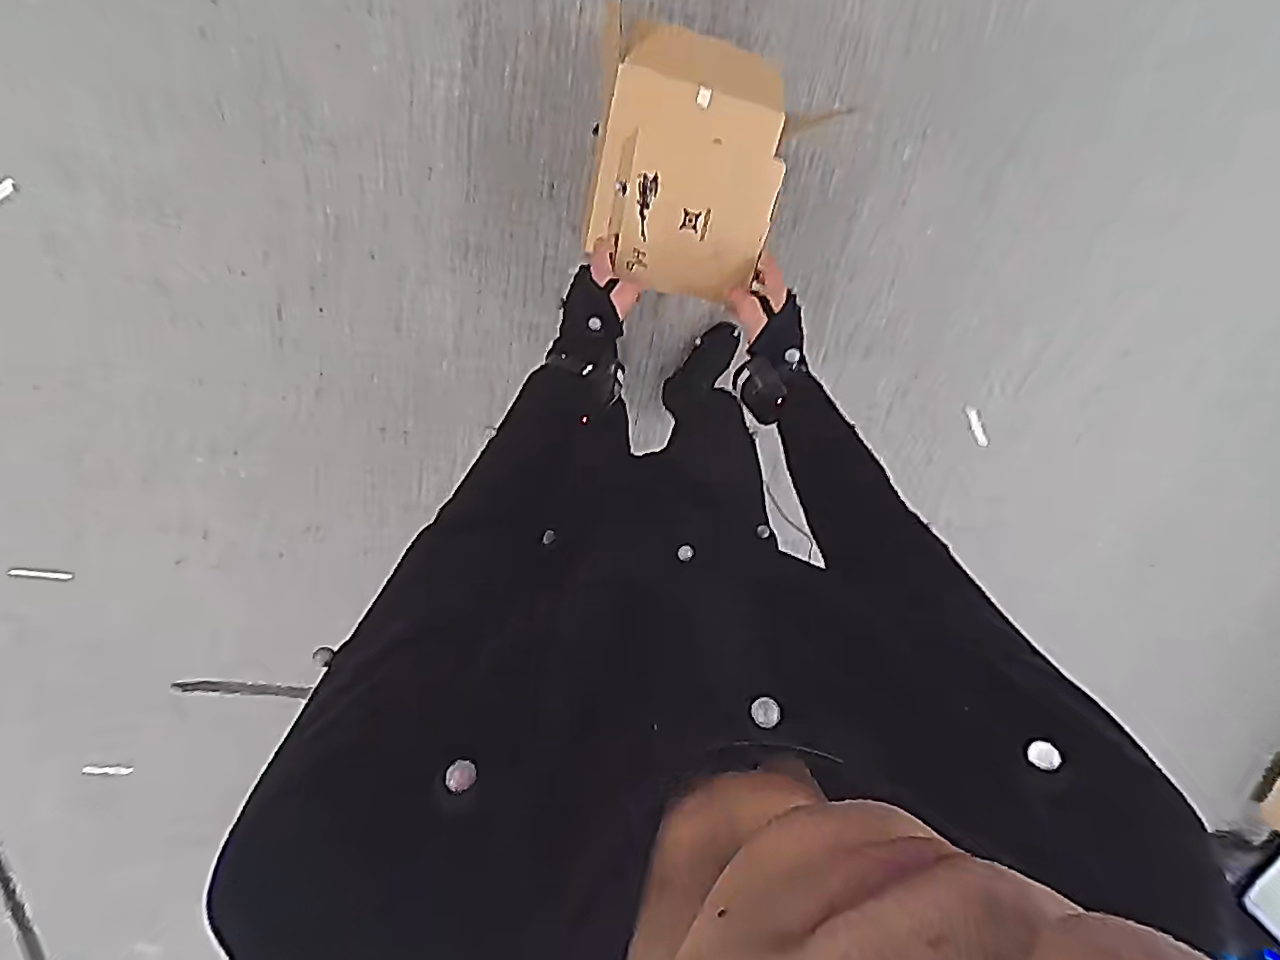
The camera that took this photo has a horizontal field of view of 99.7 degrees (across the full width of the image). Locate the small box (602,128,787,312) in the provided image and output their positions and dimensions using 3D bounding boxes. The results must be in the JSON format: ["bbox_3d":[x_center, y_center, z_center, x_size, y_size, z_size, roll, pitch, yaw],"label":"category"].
[{"bbox_3d":[0.055,-0.330,0.696,0.179,0.176,0.168,8,116,-13],"label":"small box"}]
